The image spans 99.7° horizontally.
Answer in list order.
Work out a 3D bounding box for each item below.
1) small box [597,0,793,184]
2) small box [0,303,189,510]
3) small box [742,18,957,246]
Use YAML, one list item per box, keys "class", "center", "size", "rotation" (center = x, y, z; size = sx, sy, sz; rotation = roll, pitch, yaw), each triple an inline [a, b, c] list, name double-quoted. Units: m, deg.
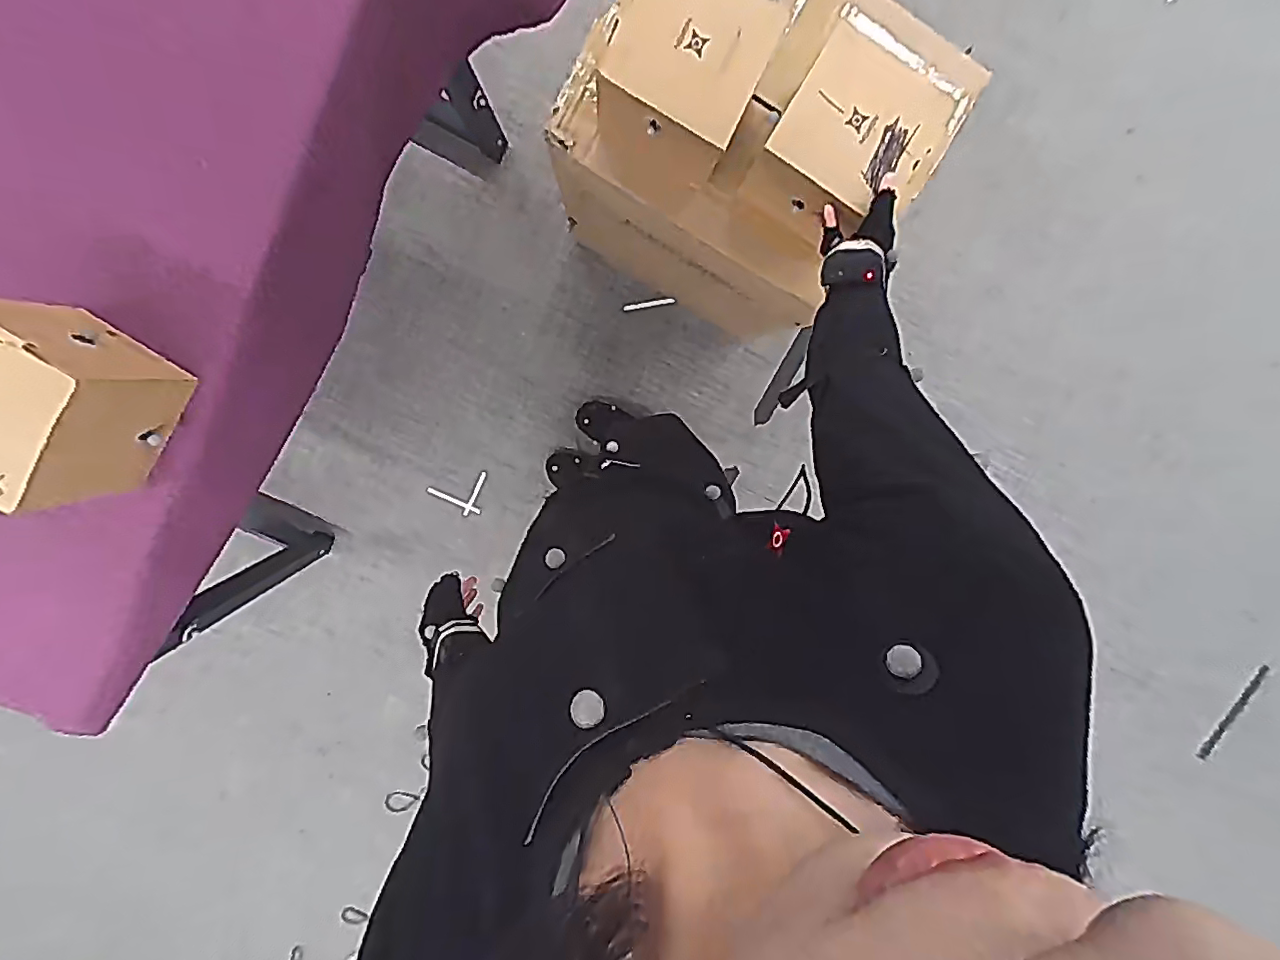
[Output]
- class: "small box"
  center: [0.058, -0.519, 0.697]
  size: [0.179, 0.176, 0.168]
  rotation: [27, 100, -9]
- class: "small box"
  center: [-0.691, -0.094, 0.634]
  size: [0.168, 0.176, 0.179]
  rotation: [33, 97, -7]
- class: "small box"
  center: [0.262, -0.437, 0.721]
  size: [0.179, 0.176, 0.168]
  rotation: [31, 98, -6]
